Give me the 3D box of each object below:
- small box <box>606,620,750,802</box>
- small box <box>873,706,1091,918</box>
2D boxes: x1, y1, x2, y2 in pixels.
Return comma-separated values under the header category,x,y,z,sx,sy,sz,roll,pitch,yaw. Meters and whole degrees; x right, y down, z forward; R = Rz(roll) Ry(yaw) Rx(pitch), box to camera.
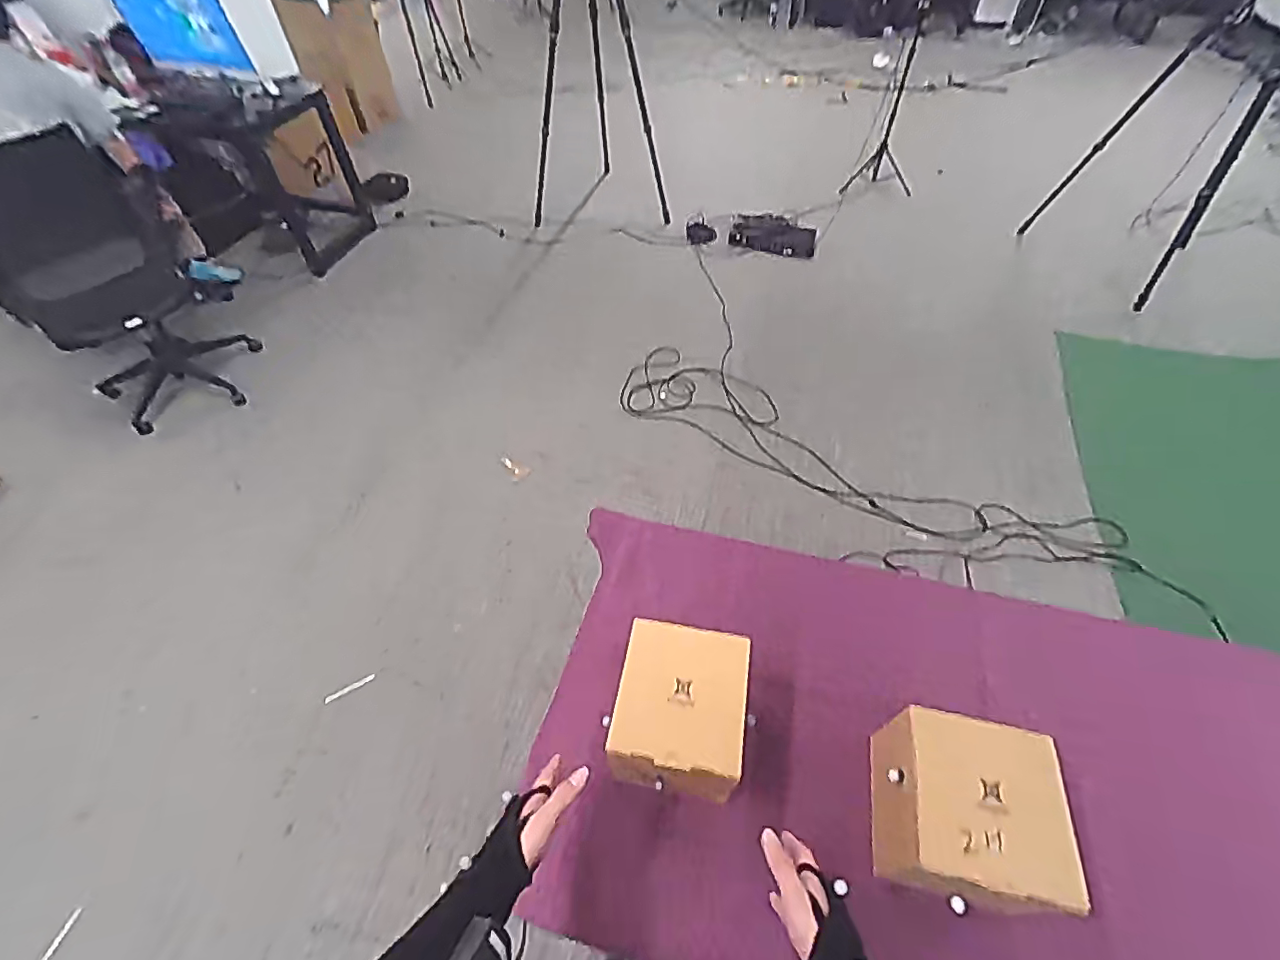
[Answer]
category,x,y,z,sx,sy,sz,roll,pitch,yaw
small box,0.054,0.323,0.754,0.168,0.176,0.179,8,52,8
small box,0.397,0.411,0.670,0.168,0.176,0.179,10,52,10
